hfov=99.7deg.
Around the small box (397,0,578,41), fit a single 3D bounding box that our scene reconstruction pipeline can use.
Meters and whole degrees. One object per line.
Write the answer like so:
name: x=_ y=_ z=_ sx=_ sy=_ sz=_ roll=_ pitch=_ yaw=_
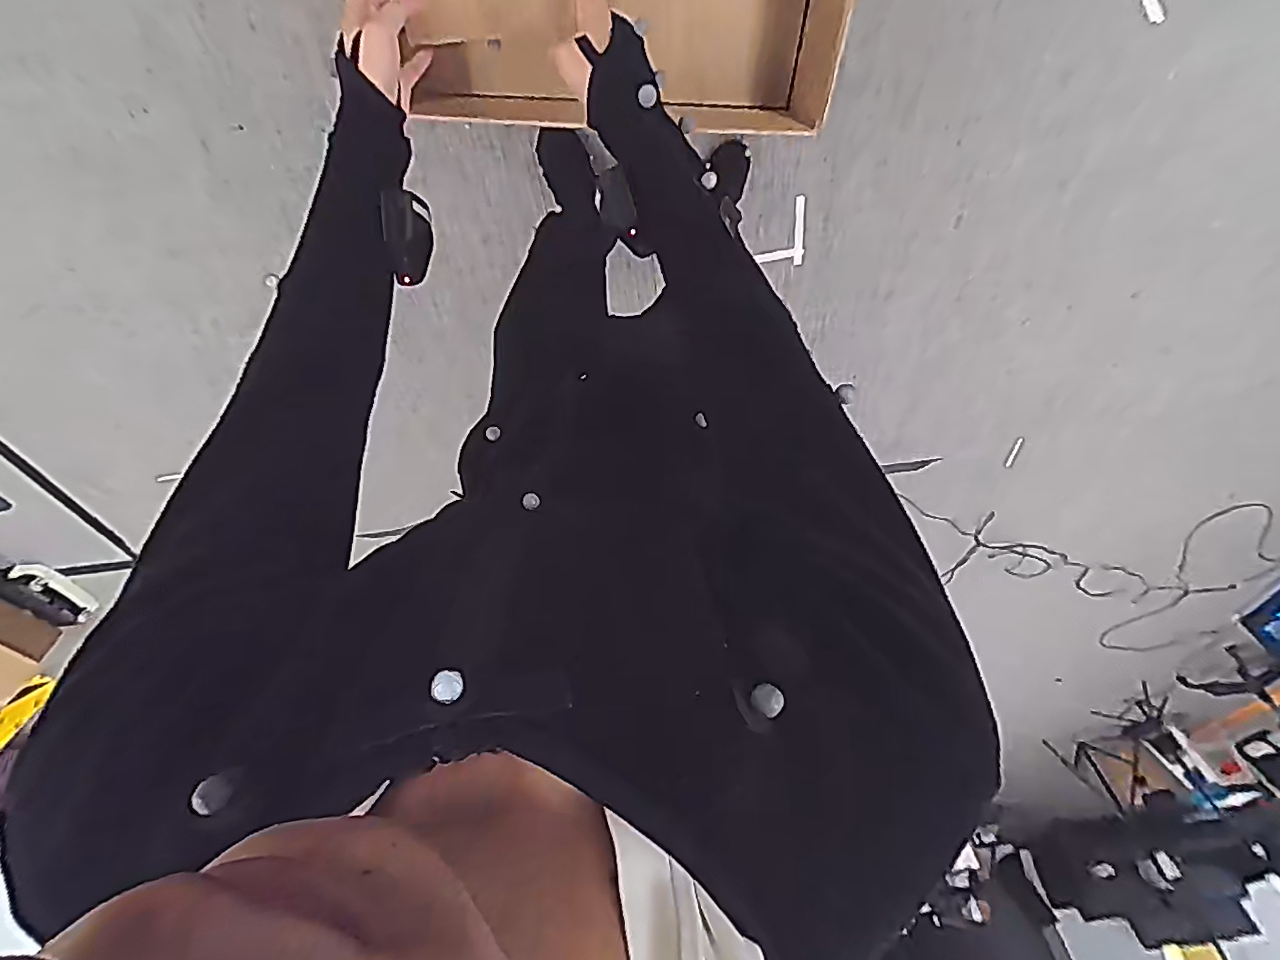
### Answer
small box: x=-0.152 y=-0.543 z=0.520 sx=0.168 sy=0.176 sz=0.179 roll=-5 pitch=133 yaw=-1
